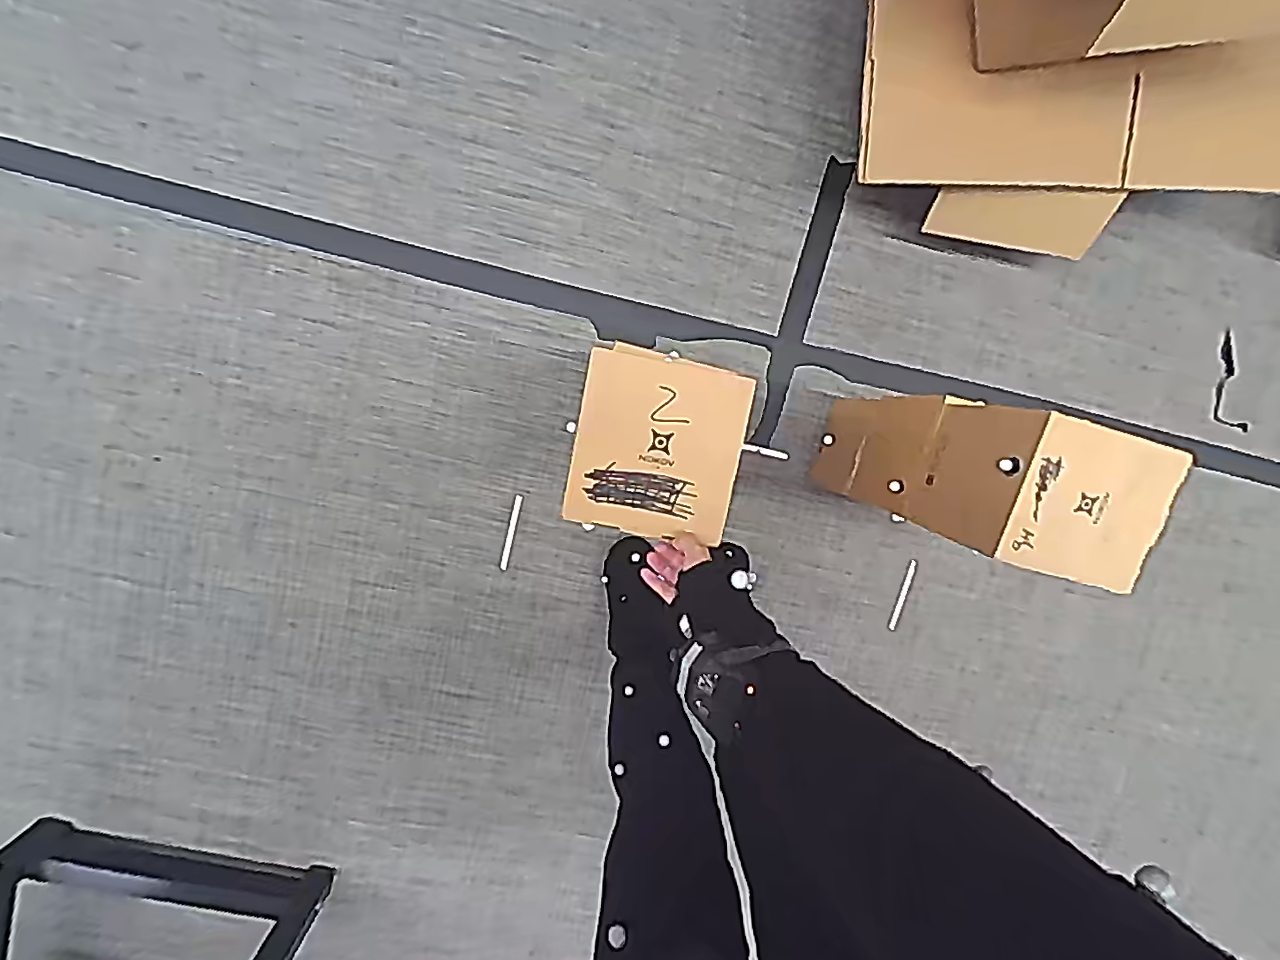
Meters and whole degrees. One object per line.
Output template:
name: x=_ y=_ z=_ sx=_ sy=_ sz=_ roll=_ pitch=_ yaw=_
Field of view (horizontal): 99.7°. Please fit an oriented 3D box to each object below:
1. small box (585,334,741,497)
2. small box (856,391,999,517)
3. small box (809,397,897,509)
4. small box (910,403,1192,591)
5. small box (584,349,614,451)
small box: x=0.025 y=-0.091 z=0.767 sx=0.168 sy=0.176 sz=0.179 roll=14 pitch=97 yaw=-6
small box: x=0.452 y=-0.031 z=0.808 sx=0.168 sy=0.176 sz=0.179 roll=13 pitch=100 yaw=-7
small box: x=0.437 y=-0.048 z=0.969 sx=0.179 sy=0.176 sz=0.168 roll=18 pitch=98 yaw=-8
small box: x=0.472 y=0.010 z=0.650 sx=0.179 sy=0.176 sz=0.168 roll=15 pitch=100 yaw=-8
small box: x=0.008 y=-0.122 z=0.928 sx=0.179 sy=0.176 sz=0.168 roll=11 pitch=98 yaw=-5
